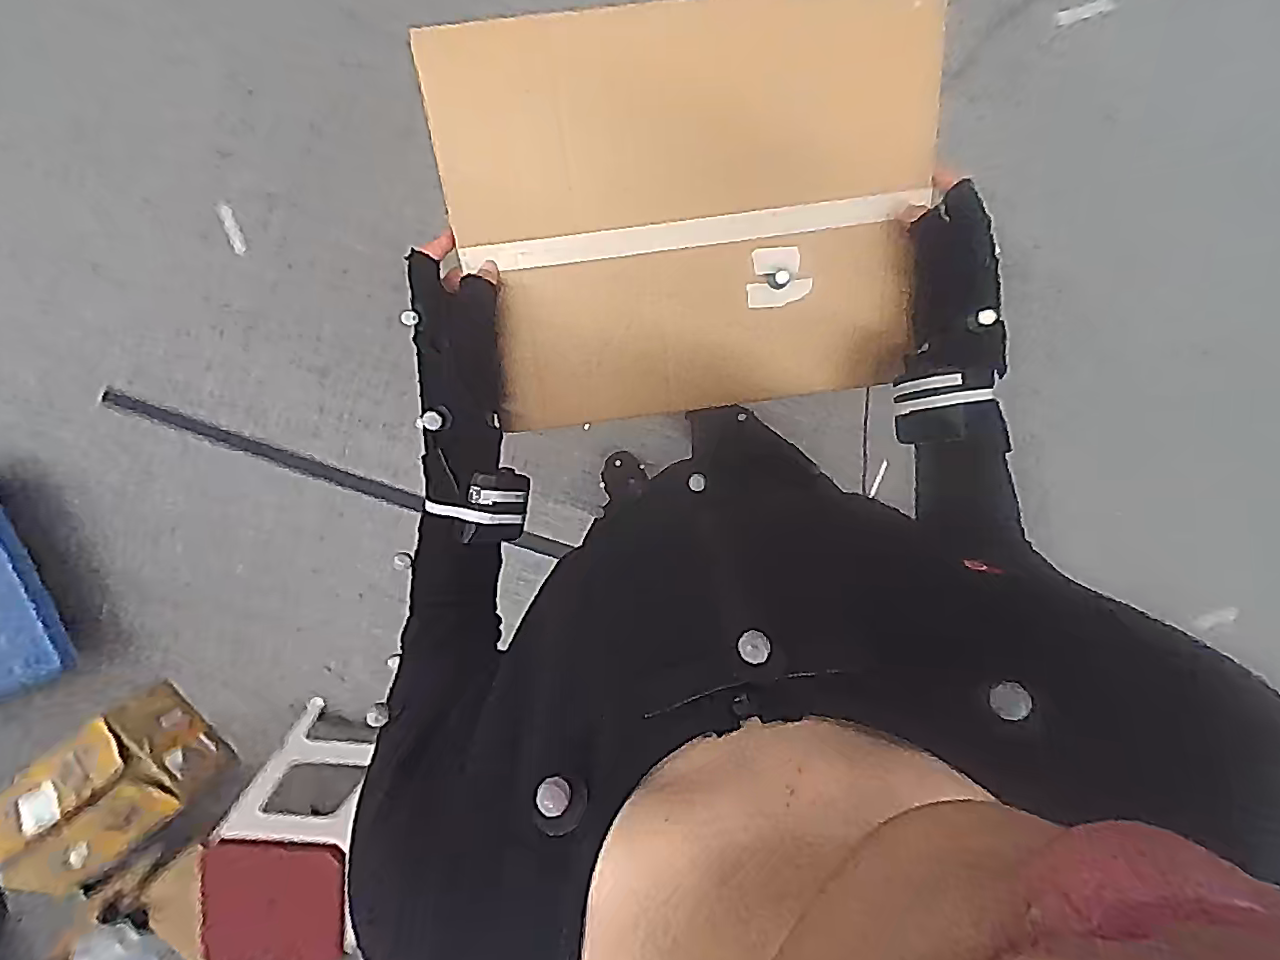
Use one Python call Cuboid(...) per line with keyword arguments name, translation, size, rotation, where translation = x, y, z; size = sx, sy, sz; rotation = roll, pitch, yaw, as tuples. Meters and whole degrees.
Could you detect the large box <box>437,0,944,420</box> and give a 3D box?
Cuboid(name="large box", translation=(0.043, -0.279, 0.607), size=(0.408, 0.320, 0.320), rotation=(-7, 114, -2))
